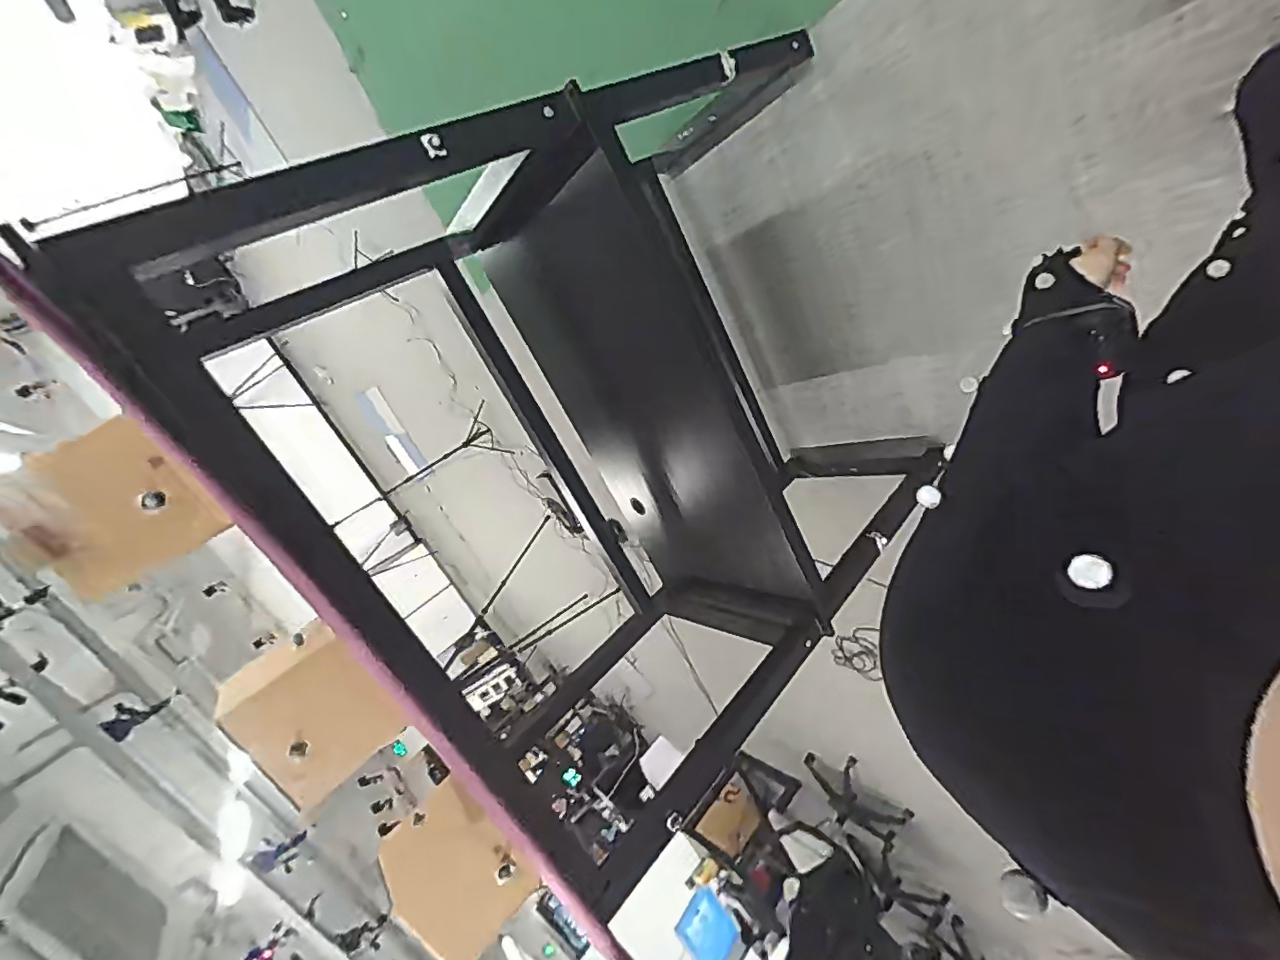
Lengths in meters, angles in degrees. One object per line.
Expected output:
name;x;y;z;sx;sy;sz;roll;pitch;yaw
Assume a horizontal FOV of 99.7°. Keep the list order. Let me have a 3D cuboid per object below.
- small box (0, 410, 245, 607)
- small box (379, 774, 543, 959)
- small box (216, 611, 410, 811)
small box;-0.634;0.026;0.679;0.179;0.176;0.168;4;129;55
small box;-0.286;0.614;0.870;0.179;0.176;0.168;-9;117;56
small box;-0.469;0.325;0.795;0.168;0.176;0.179;0;123;56
